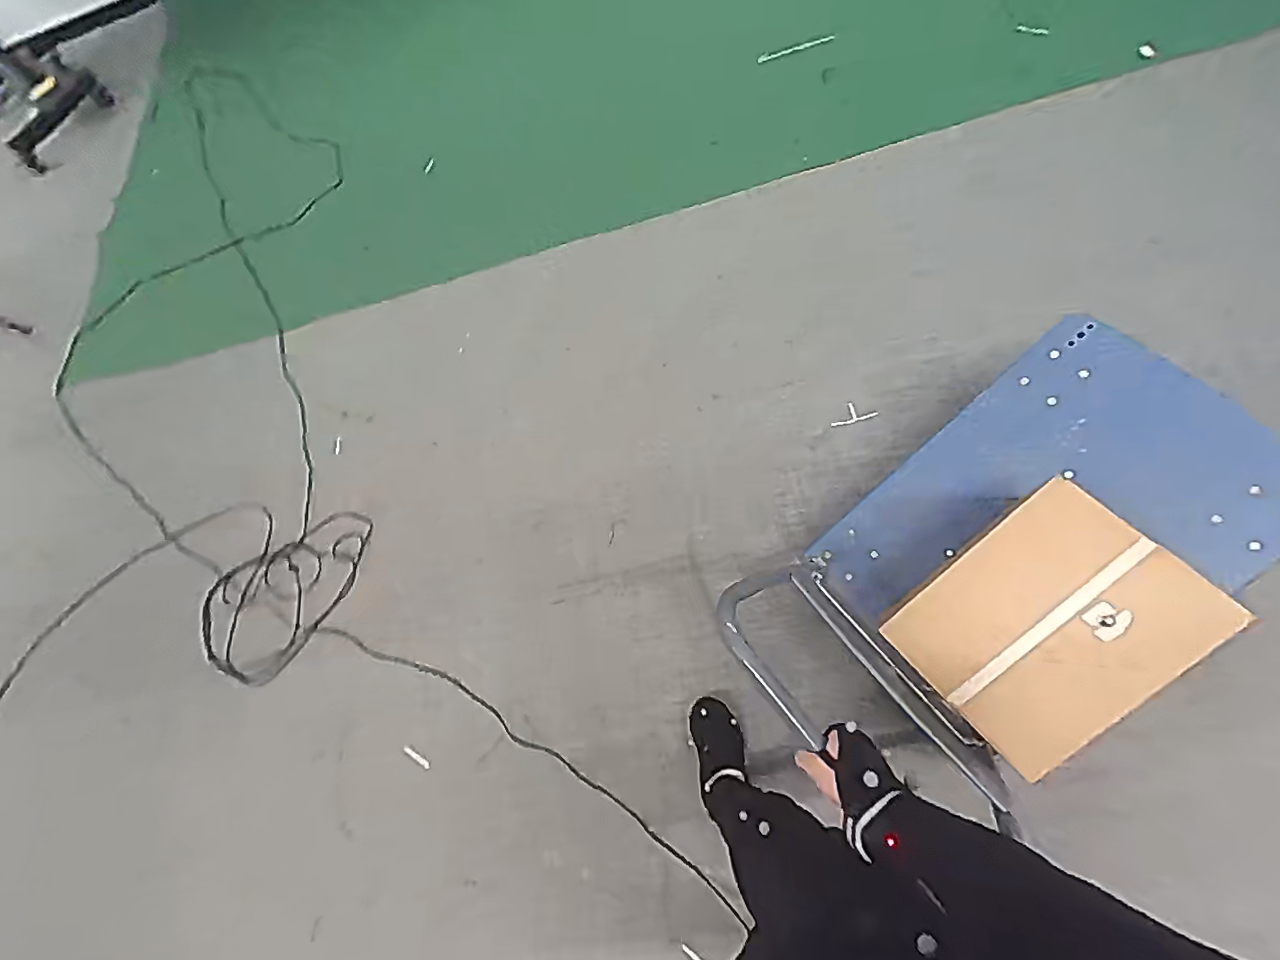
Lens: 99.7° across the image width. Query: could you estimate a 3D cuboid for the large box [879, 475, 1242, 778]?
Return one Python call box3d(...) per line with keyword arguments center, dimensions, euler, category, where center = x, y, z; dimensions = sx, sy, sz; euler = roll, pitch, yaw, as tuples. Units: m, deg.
box3d(center=(0.718, 0.260, 1.016), dimensions=(0.408, 0.320, 0.320), euler=(-46, 66, 11), category="large box")
